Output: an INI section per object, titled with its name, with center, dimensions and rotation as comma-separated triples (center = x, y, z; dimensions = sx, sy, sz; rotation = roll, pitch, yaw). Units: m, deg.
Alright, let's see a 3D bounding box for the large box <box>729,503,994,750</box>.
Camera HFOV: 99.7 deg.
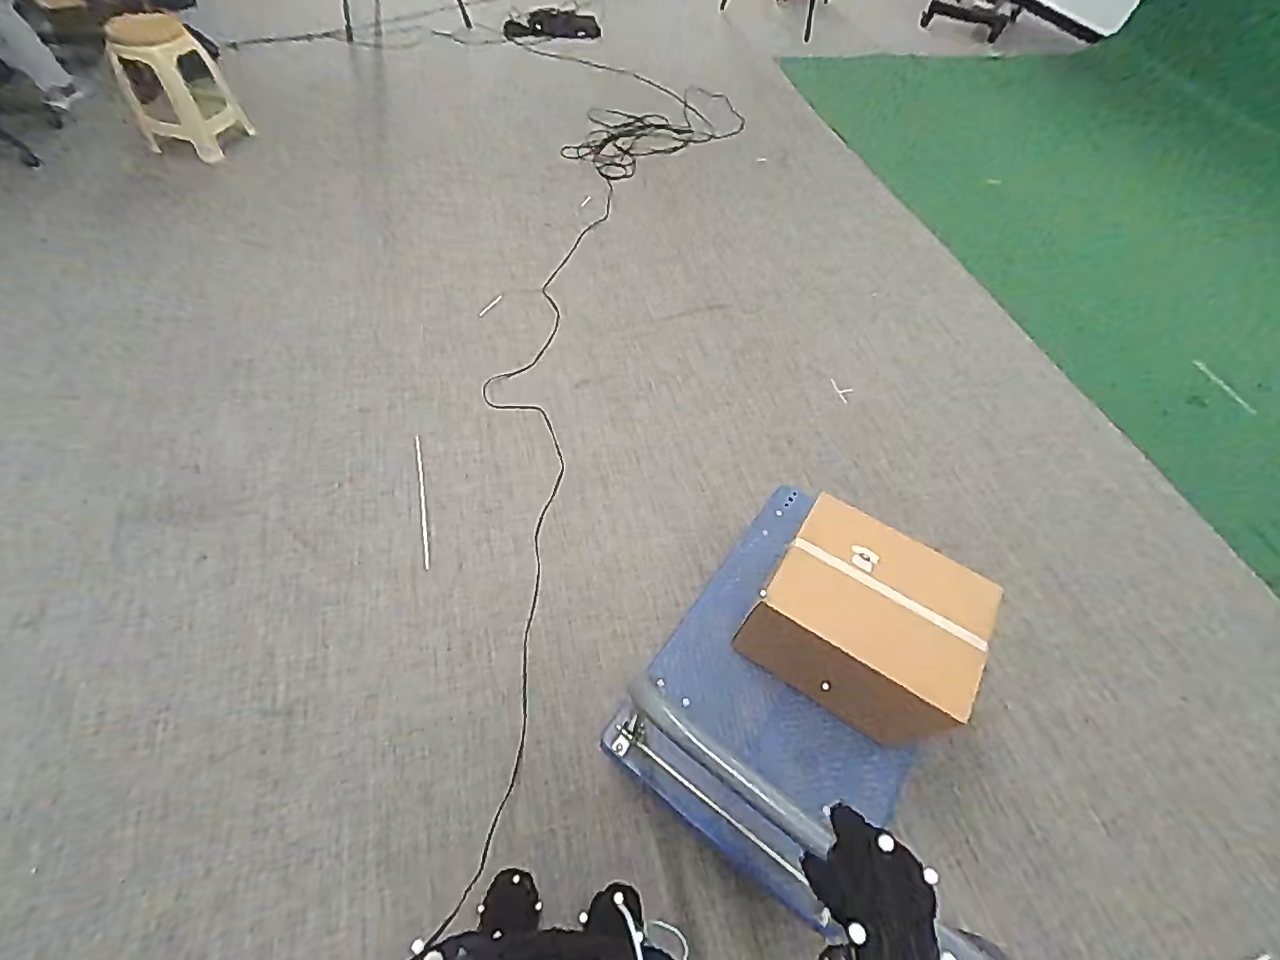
[large box]
center = 0.464, 0.325, 1.188
dimensions = 0.408, 0.320, 0.320
rotation = 29, 58, 15
